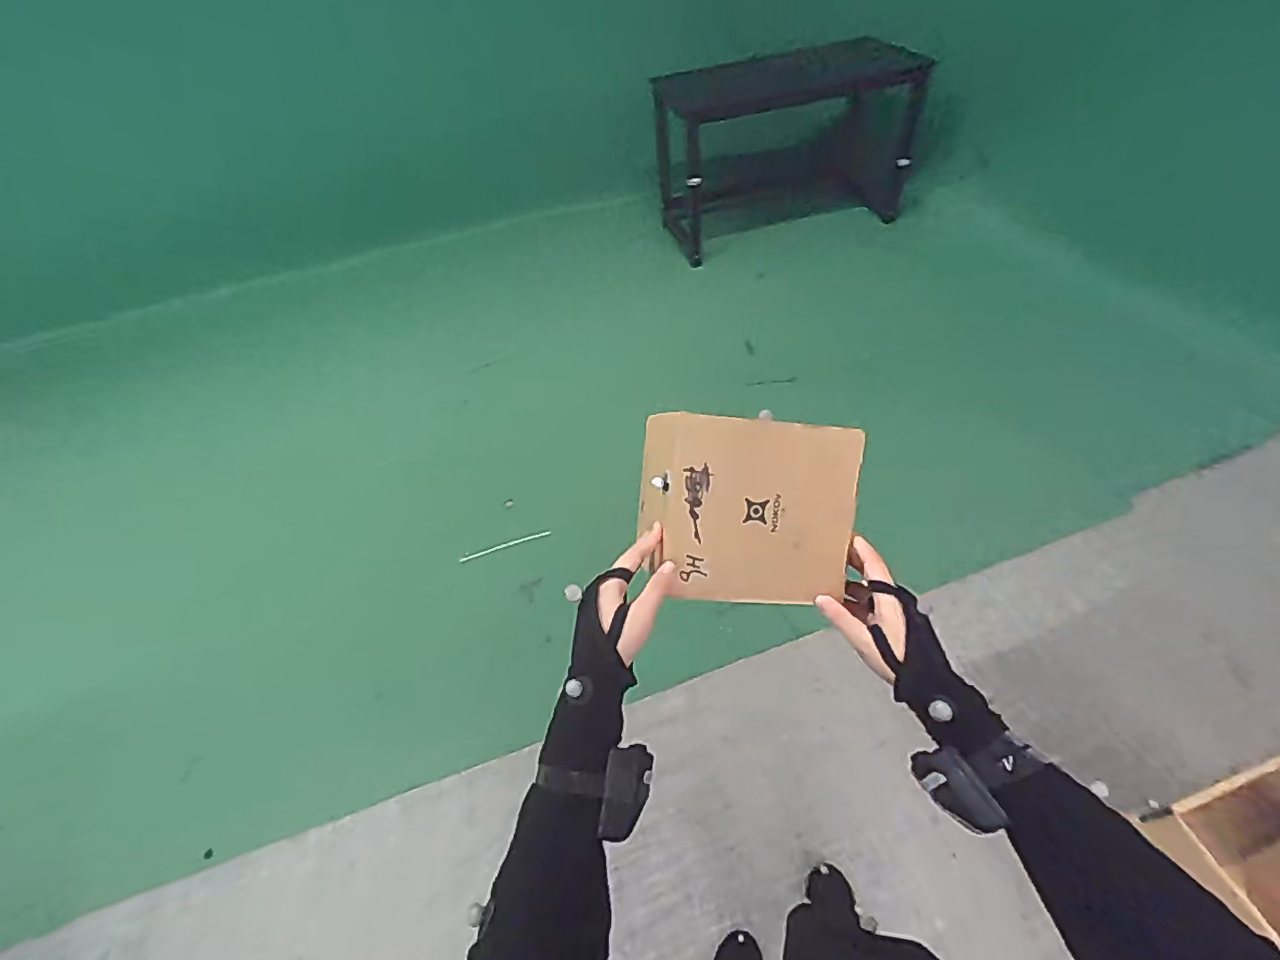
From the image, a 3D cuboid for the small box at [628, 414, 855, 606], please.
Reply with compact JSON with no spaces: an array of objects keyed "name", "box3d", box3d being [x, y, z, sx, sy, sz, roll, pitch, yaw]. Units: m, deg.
[{"name":"small box","box3d":[0.091,0.024,0.561,0.179,0.176,0.168,4,93,-10]}]
